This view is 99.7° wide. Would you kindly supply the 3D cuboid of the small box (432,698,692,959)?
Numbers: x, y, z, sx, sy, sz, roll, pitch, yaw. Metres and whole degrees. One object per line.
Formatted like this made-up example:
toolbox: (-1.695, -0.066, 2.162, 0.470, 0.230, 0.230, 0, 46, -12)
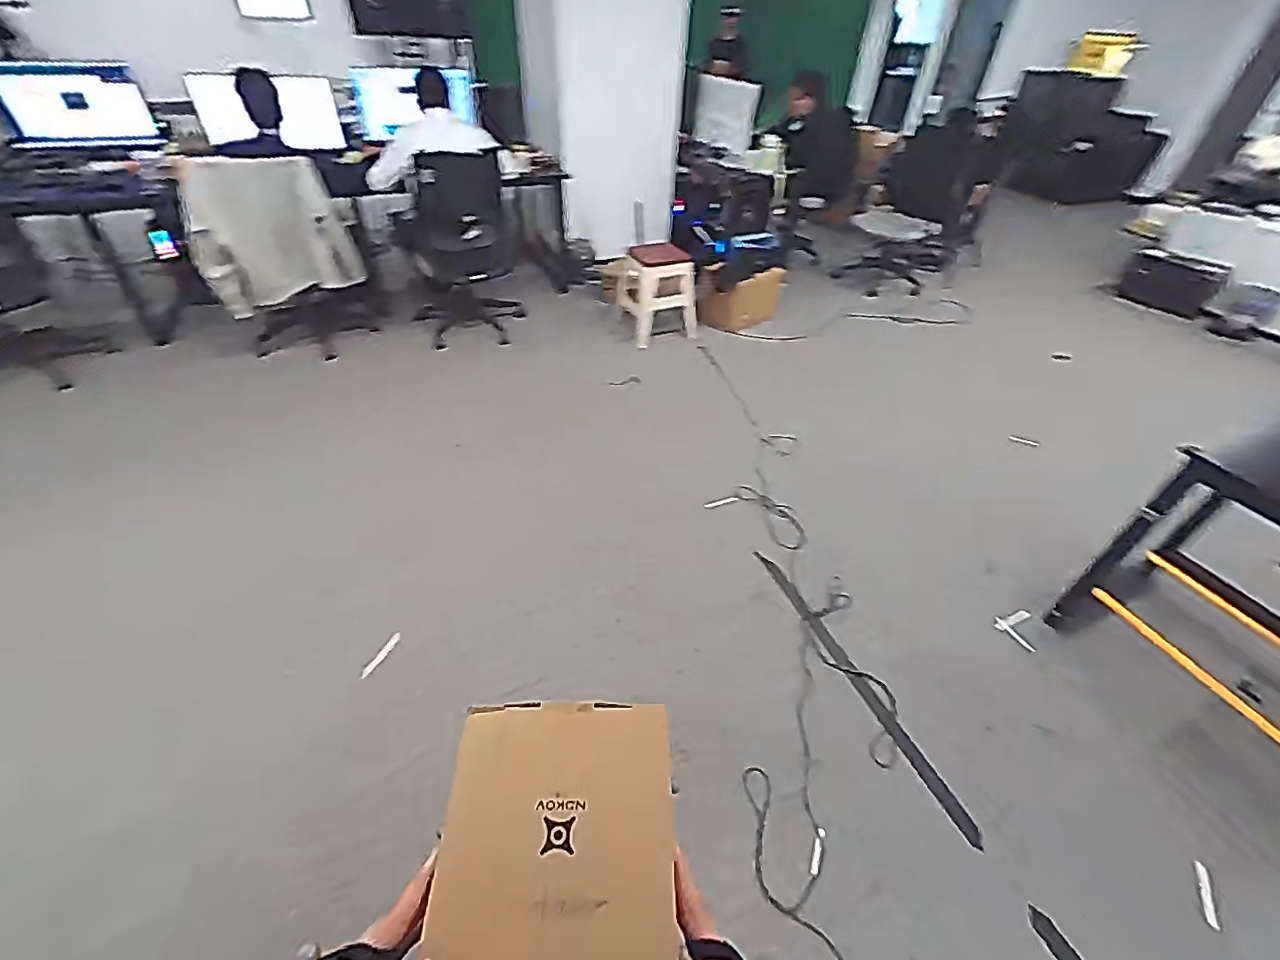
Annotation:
small box: (-0.050, 0.301, 0.449, 0.168, 0.176, 0.179, 1, 49, -1)
